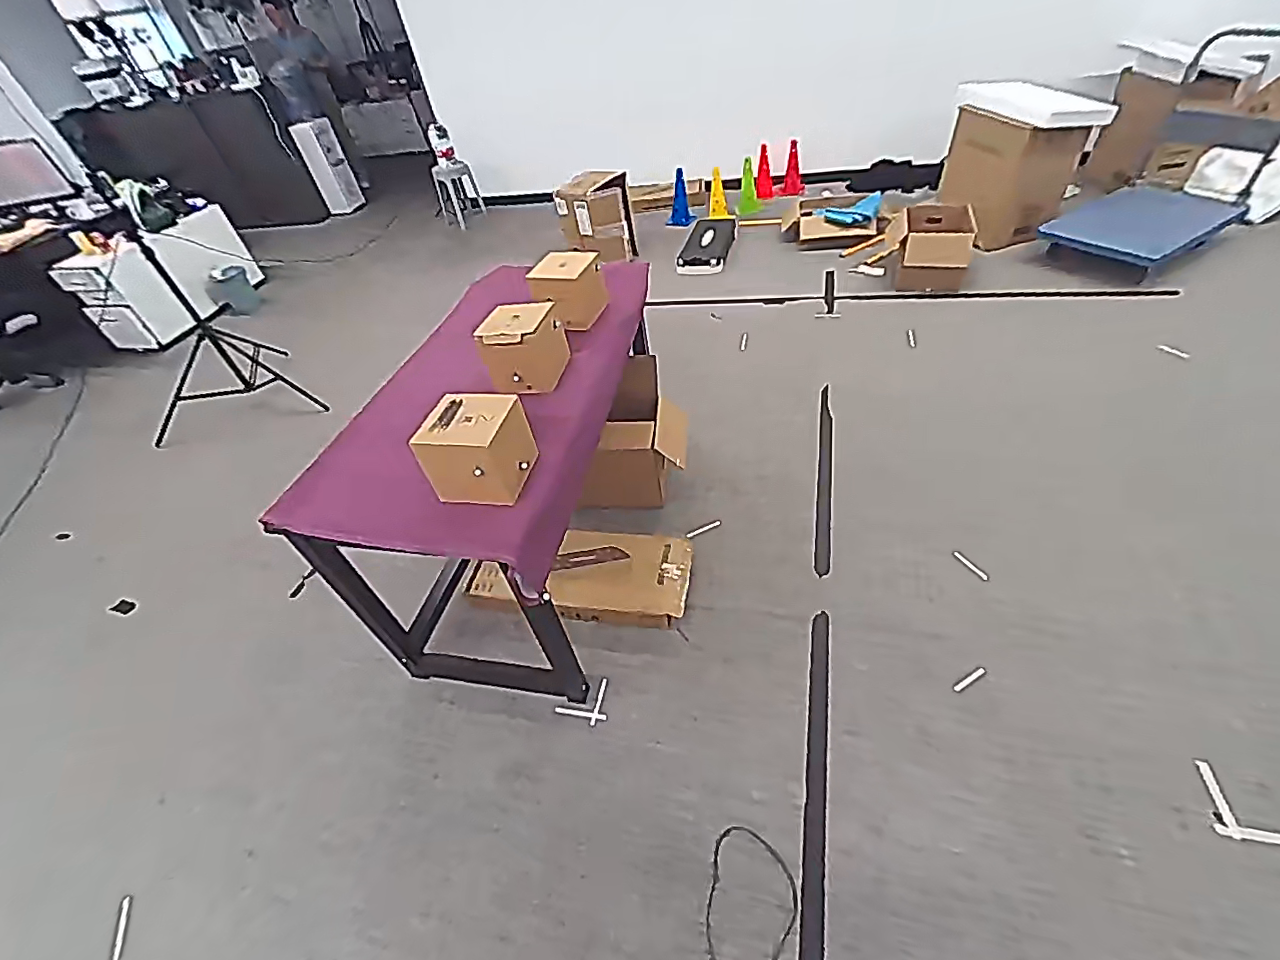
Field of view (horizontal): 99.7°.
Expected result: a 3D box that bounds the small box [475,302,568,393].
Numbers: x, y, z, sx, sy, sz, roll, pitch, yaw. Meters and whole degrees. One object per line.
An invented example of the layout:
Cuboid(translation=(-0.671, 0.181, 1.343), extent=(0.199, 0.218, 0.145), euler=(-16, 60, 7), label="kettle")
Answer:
Cuboid(translation=(-0.300, -0.346, 1.418), extent=(0.168, 0.176, 0.179), euler=(1, 45, 15), label="small box")

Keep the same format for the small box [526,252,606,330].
Cuboid(translation=(-0.215, -0.568, 1.631), extent=(0.168, 0.176, 0.179), euler=(8, 47, 18), label="small box")
